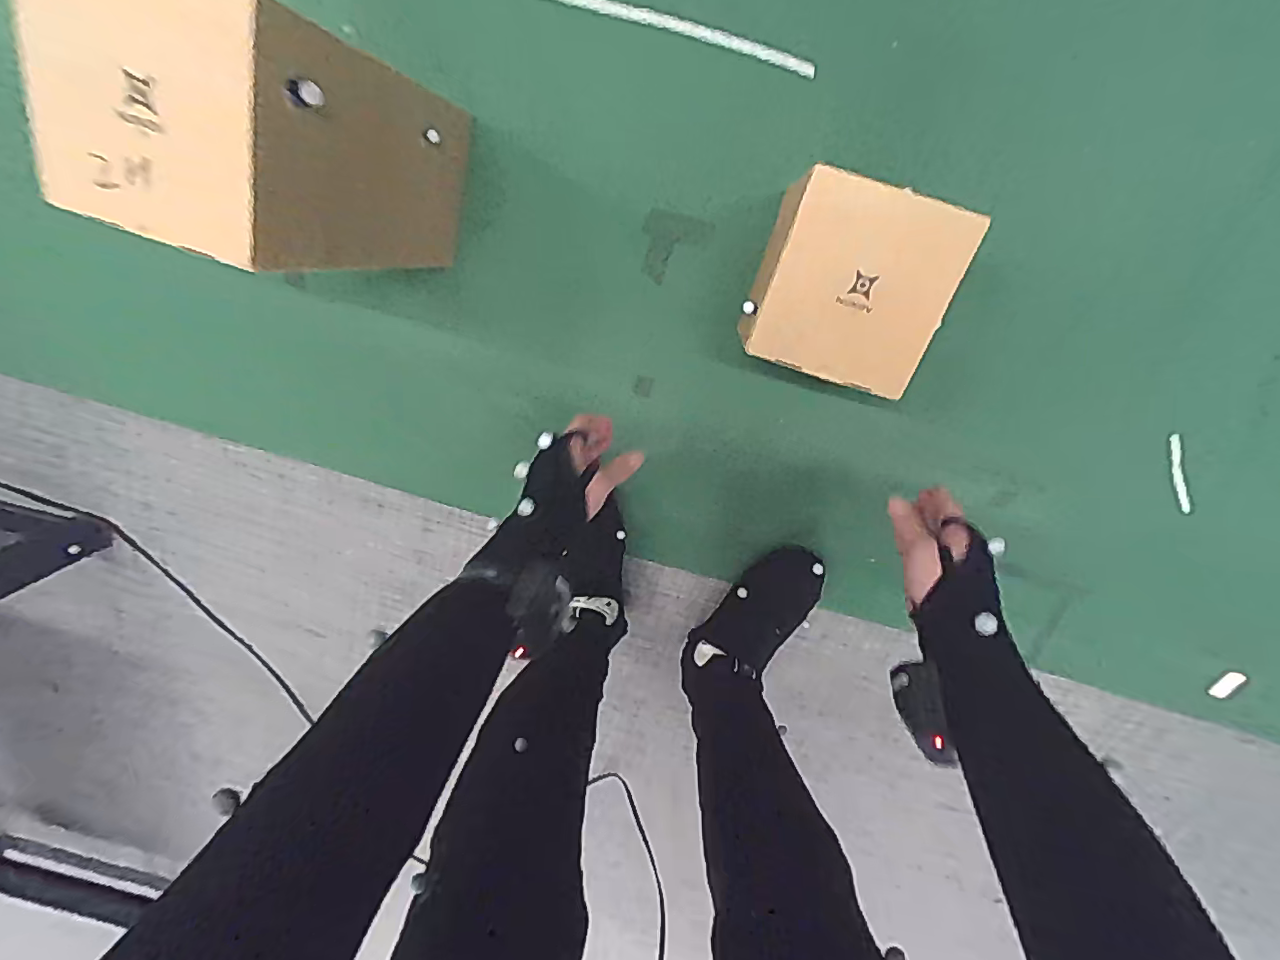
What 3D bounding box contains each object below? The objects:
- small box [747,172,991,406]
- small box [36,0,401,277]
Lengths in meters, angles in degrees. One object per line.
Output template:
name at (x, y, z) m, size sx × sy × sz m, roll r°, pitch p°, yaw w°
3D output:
small box at (0.221, -0.203, 0.585) m, size 0.168 × 0.176 × 0.179 m, roll 17°, pitch 114°, yaw 0°
small box at (-0.322, -0.282, 0.447) m, size 0.168 × 0.176 × 0.179 m, roll 19°, pitch 113°, yaw 1°
